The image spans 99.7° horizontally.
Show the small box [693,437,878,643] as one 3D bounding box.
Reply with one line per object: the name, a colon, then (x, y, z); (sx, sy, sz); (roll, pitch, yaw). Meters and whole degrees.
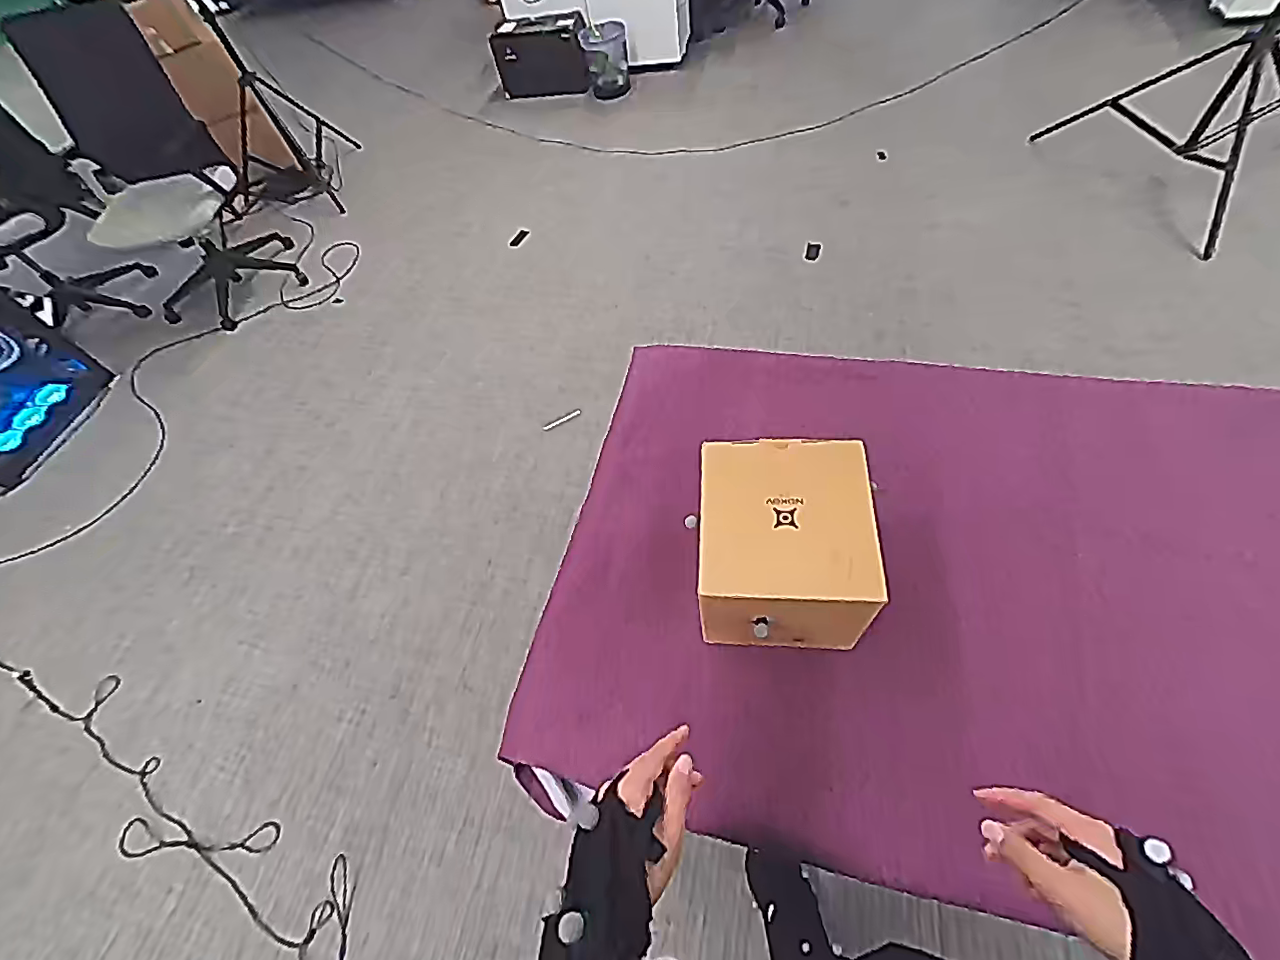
small box: (0.149, 0.073, 0.596); (0.168, 0.176, 0.179); (-1, 57, 9)
